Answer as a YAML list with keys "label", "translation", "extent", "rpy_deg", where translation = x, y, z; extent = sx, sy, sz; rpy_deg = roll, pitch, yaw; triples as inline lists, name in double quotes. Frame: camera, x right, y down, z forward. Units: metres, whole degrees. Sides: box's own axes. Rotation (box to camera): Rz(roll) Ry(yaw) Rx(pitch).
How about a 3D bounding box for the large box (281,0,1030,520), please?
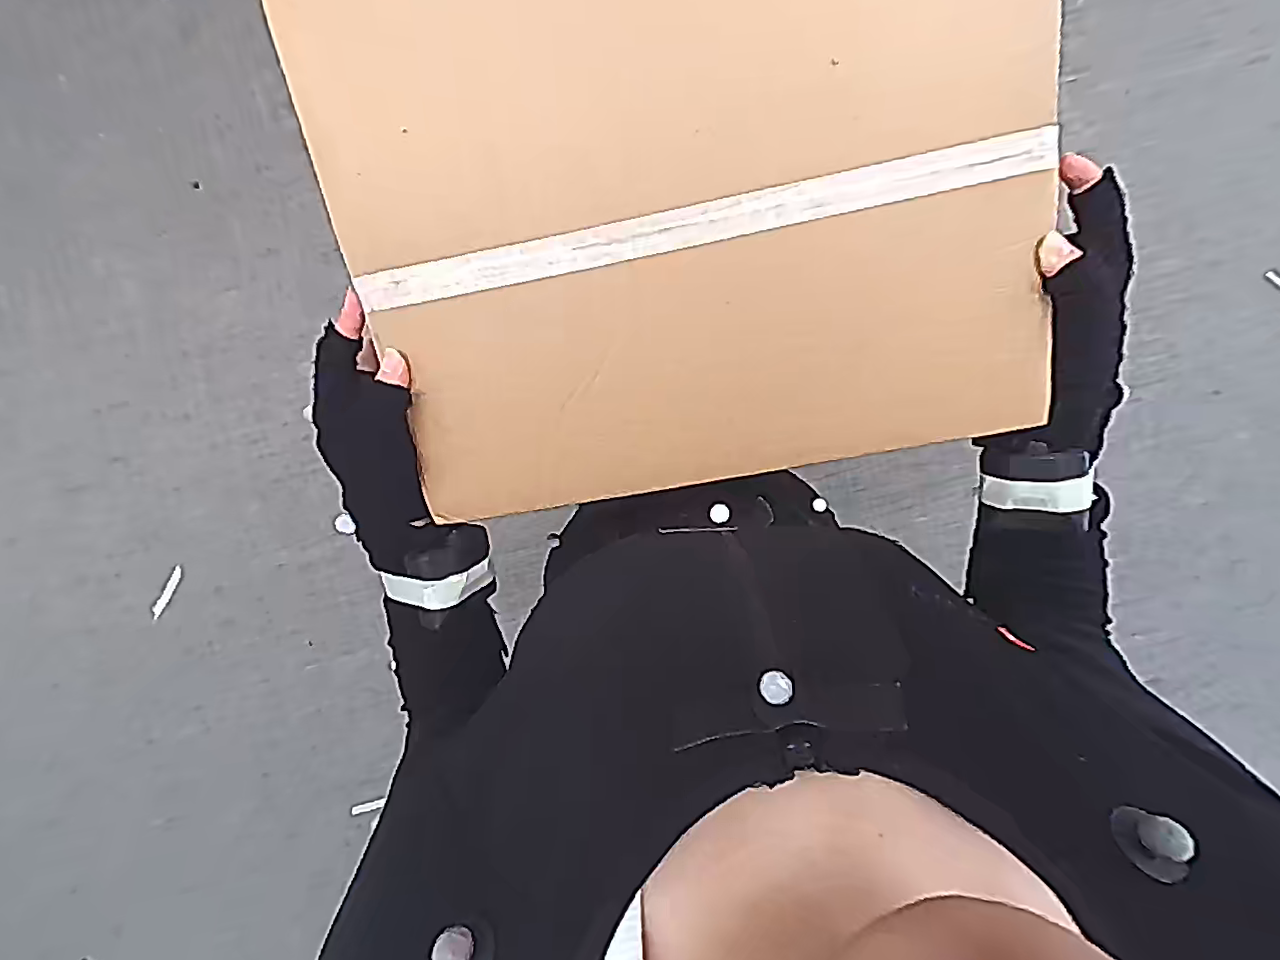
- label: "large box"
  translation: [0.029, -0.195, 0.464]
  extent: [0.408, 0.320, 0.320]
  rpy_deg: [-10, 107, 5]
